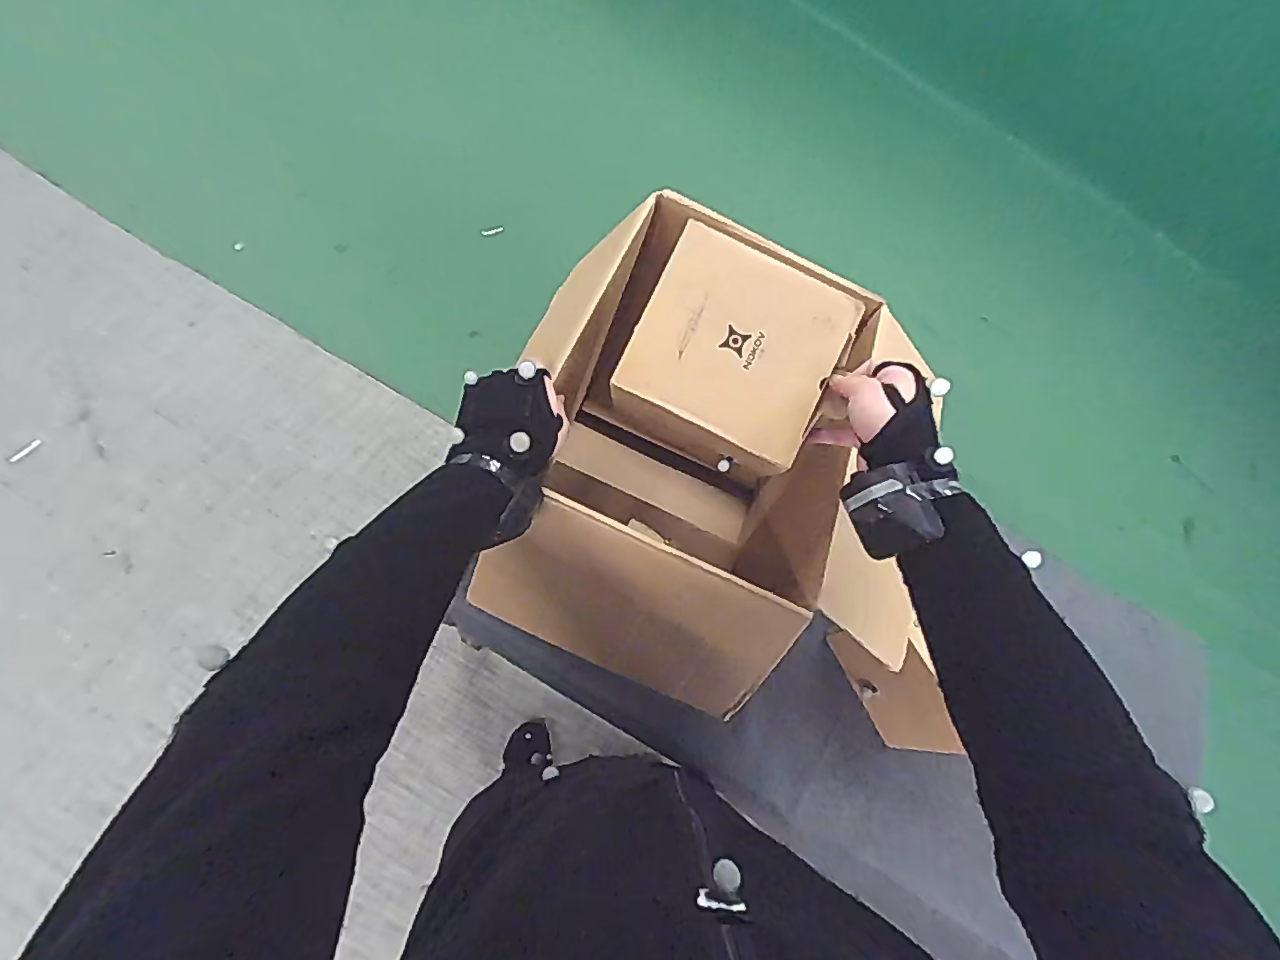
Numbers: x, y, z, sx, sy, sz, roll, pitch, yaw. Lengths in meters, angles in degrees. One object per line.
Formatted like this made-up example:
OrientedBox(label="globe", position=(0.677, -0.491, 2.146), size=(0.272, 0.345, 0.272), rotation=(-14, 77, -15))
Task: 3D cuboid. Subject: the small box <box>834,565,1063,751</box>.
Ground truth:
OrientedBox(label="small box", position=(0.408, 0.241, 0.745), size=(0.168, 0.176, 0.179), rotation=(-21, 75, -19))
